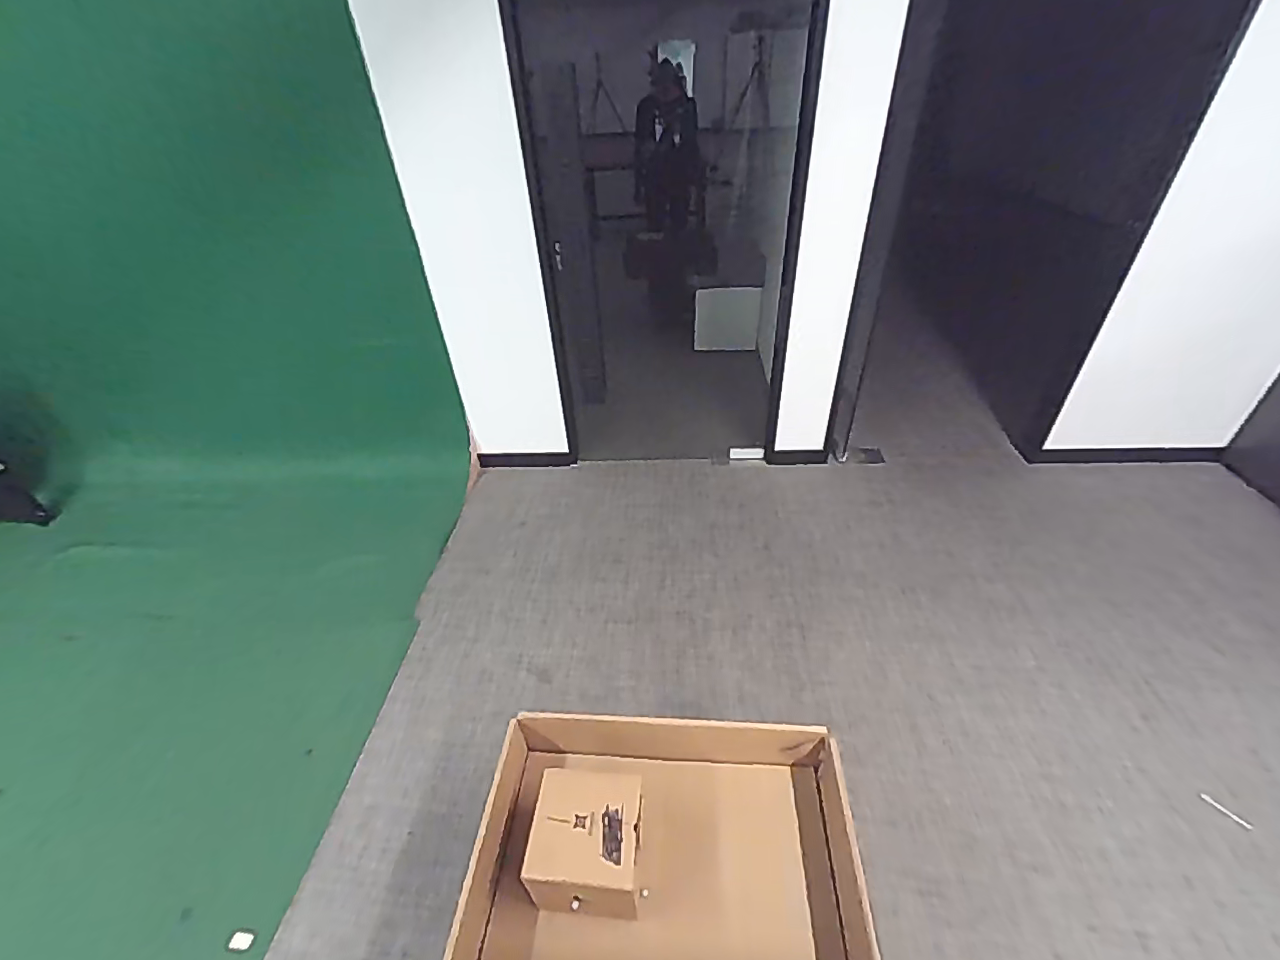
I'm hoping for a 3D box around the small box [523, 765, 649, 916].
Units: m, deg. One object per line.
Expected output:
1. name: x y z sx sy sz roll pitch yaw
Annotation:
1. small box: -0.079 0.614 0.920 0.179 0.176 0.168 1 38 7
